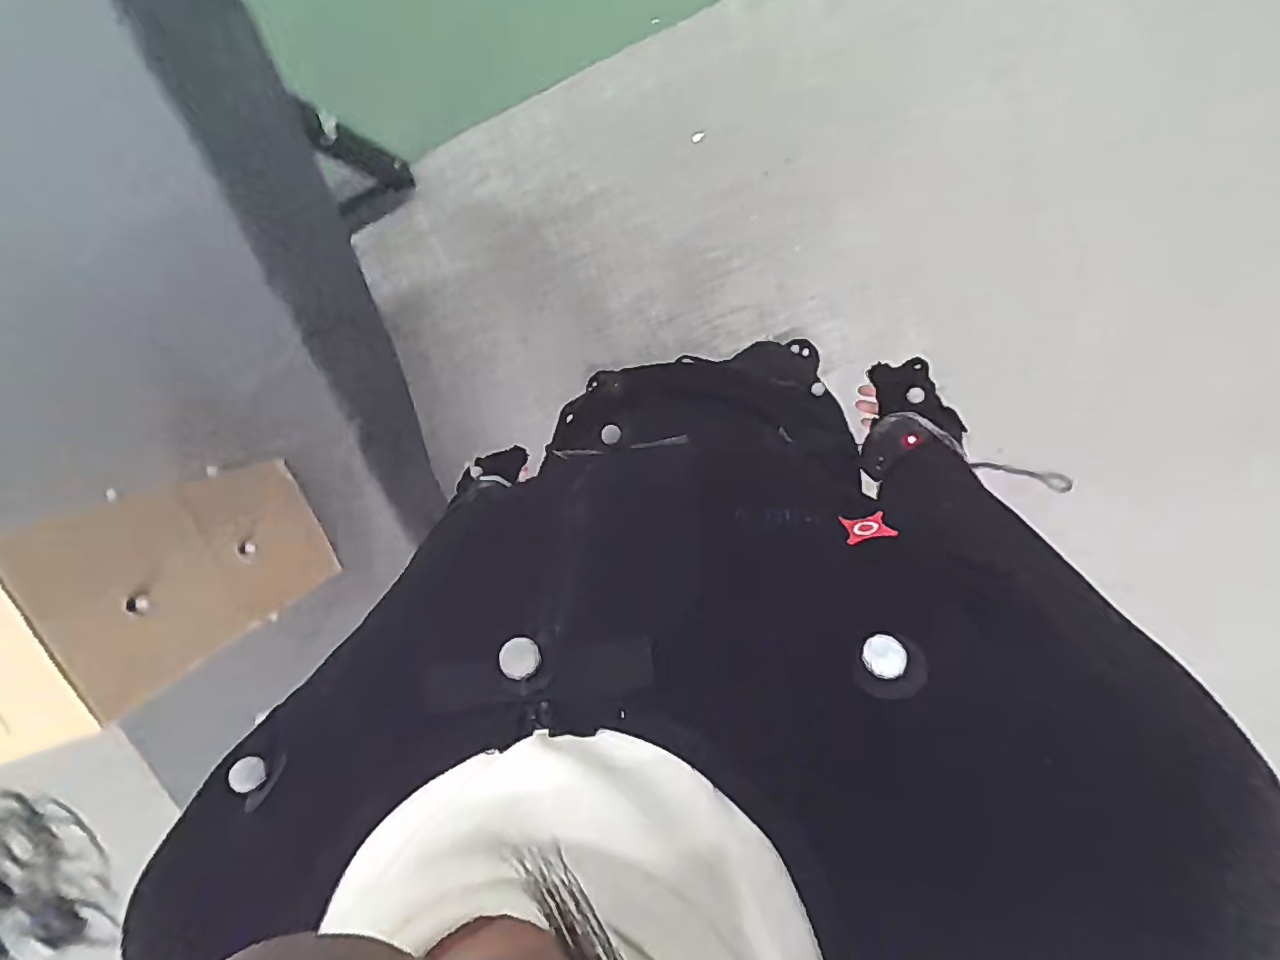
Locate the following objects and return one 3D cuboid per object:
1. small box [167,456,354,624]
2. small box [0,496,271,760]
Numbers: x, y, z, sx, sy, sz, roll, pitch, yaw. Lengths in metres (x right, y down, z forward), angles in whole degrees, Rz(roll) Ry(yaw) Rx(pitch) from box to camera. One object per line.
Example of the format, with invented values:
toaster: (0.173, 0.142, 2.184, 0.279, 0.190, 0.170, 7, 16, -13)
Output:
small box: (-0.513, 0.088, 0.693, 0.168, 0.176, 0.179, -21, 101, 11)
small box: (-0.527, 0.129, 0.534, 0.168, 0.176, 0.179, -20, 104, 11)
